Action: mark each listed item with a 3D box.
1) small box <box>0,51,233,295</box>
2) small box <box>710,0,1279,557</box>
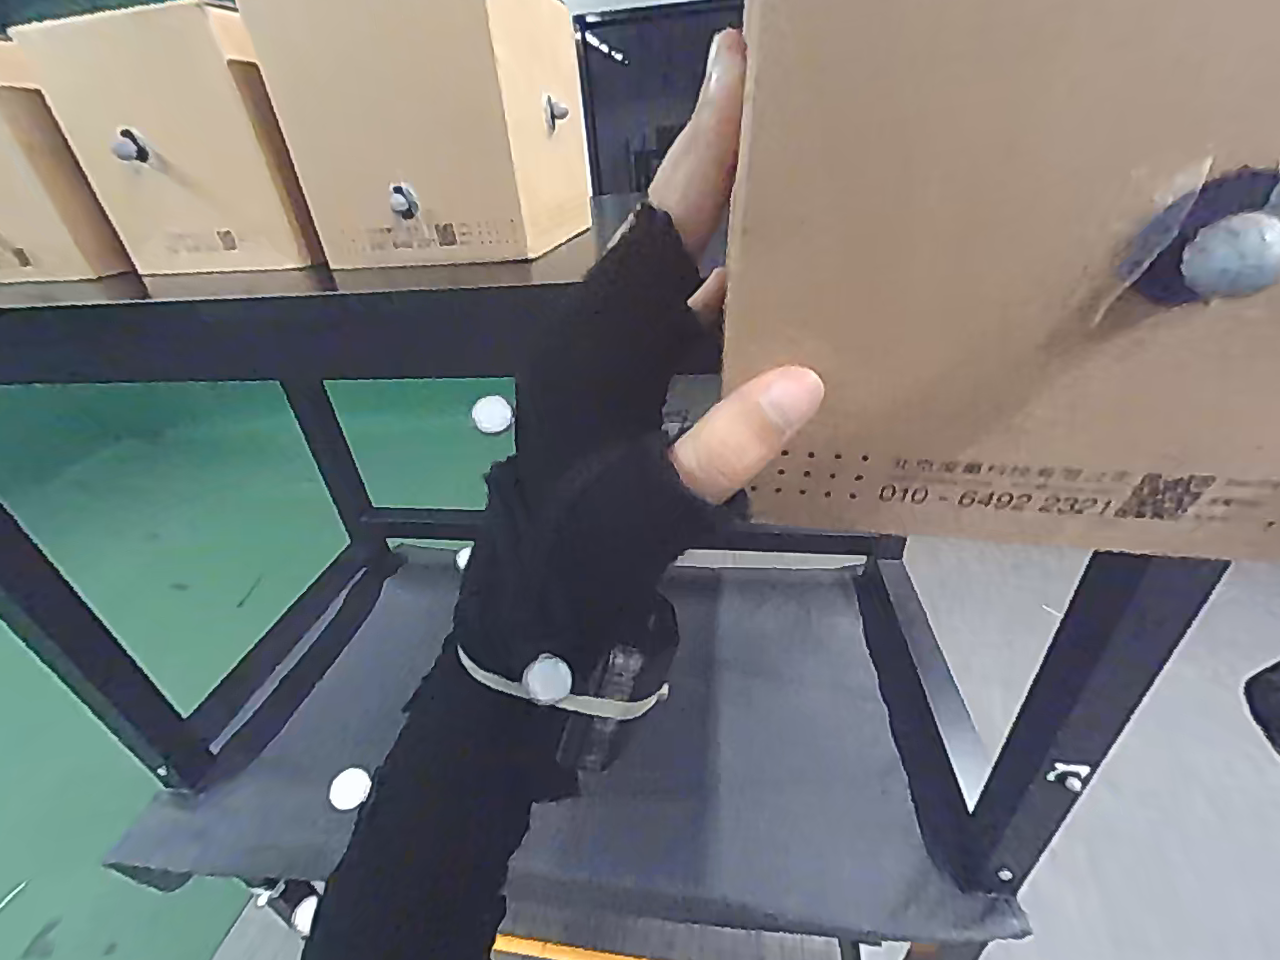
[{"bbox_3d":[-0.531,-0.279,0.505,0.168,0.176,0.179,2,33,11],"label":"small box"},{"bbox_3d":[0.109,-0.097,0.154,0.168,0.176,0.179,4,43,7],"label":"small box"}]
